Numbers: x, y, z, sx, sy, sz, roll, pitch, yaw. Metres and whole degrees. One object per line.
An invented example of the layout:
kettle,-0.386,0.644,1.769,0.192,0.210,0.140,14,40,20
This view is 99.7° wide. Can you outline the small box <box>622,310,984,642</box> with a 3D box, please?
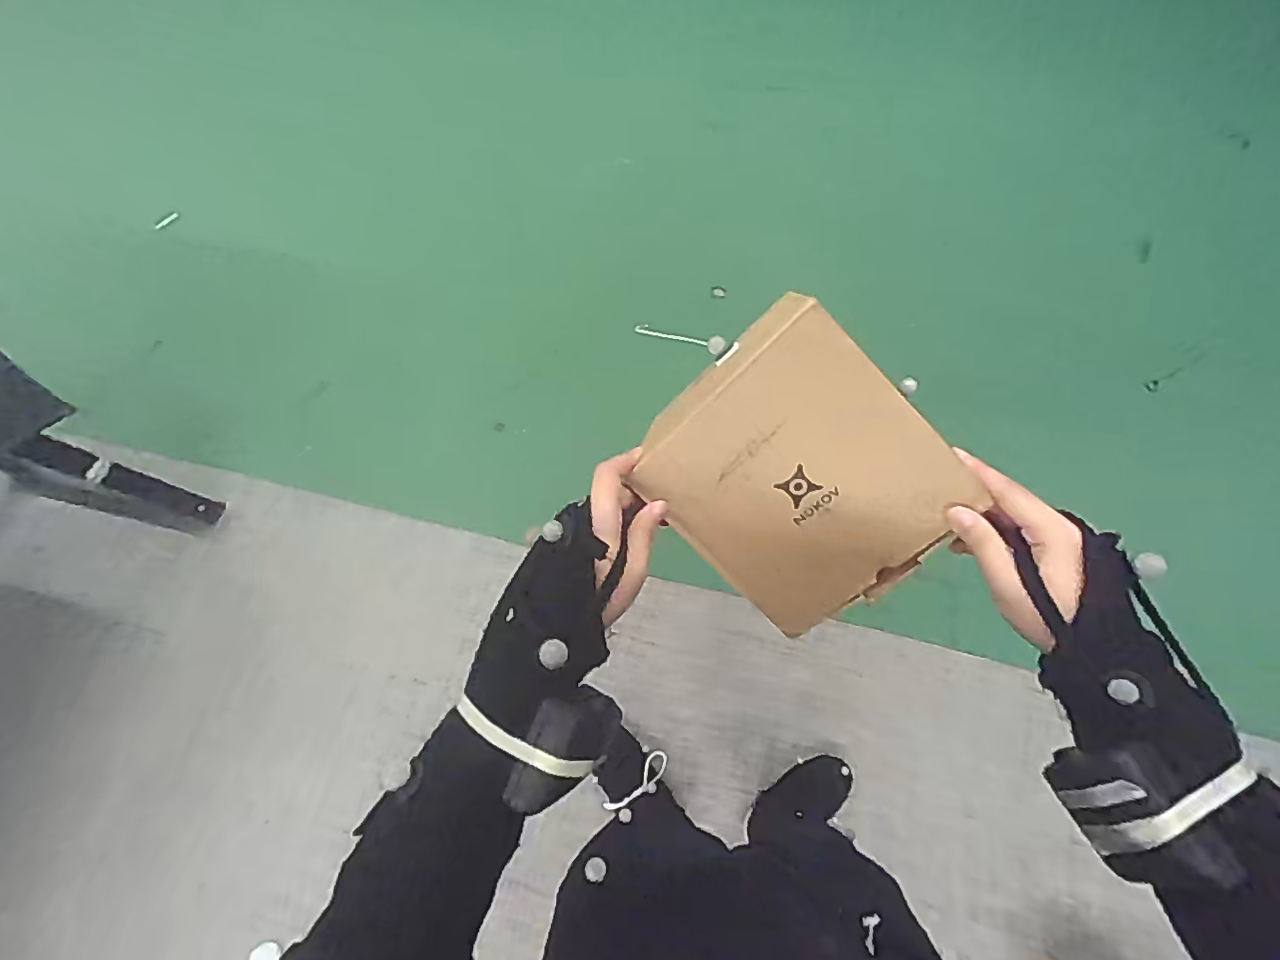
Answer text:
small box,0.114,-0.017,0.428,0.179,0.176,0.168,43,110,-8
